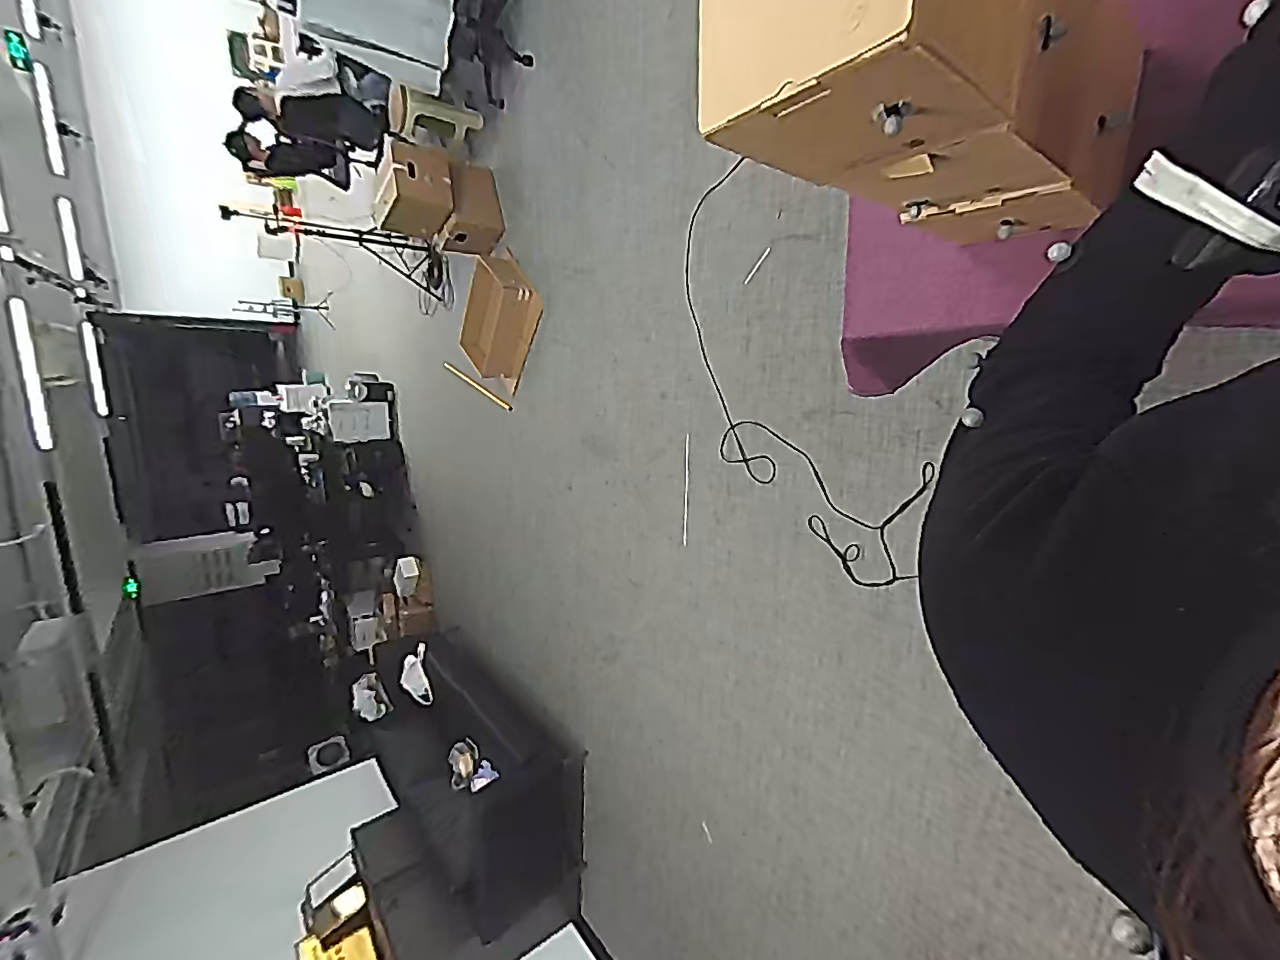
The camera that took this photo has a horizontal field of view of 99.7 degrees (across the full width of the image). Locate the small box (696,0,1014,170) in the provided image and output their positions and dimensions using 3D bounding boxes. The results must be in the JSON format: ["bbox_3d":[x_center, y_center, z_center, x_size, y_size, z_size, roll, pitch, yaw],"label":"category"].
[{"bbox_3d":[0.160,-0.351,0.398,0.168,0.176,0.179,13,106,48],"label":"small box"}]

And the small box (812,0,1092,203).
[{"bbox_3d":[0.285,-0.373,0.500,0.168,0.176,0.179,17,108,48],"label":"small box"}]

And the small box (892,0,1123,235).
[{"bbox_3d":[0.410,-0.385,0.607,0.168,0.176,0.179,15,108,48],"label":"small box"}]
